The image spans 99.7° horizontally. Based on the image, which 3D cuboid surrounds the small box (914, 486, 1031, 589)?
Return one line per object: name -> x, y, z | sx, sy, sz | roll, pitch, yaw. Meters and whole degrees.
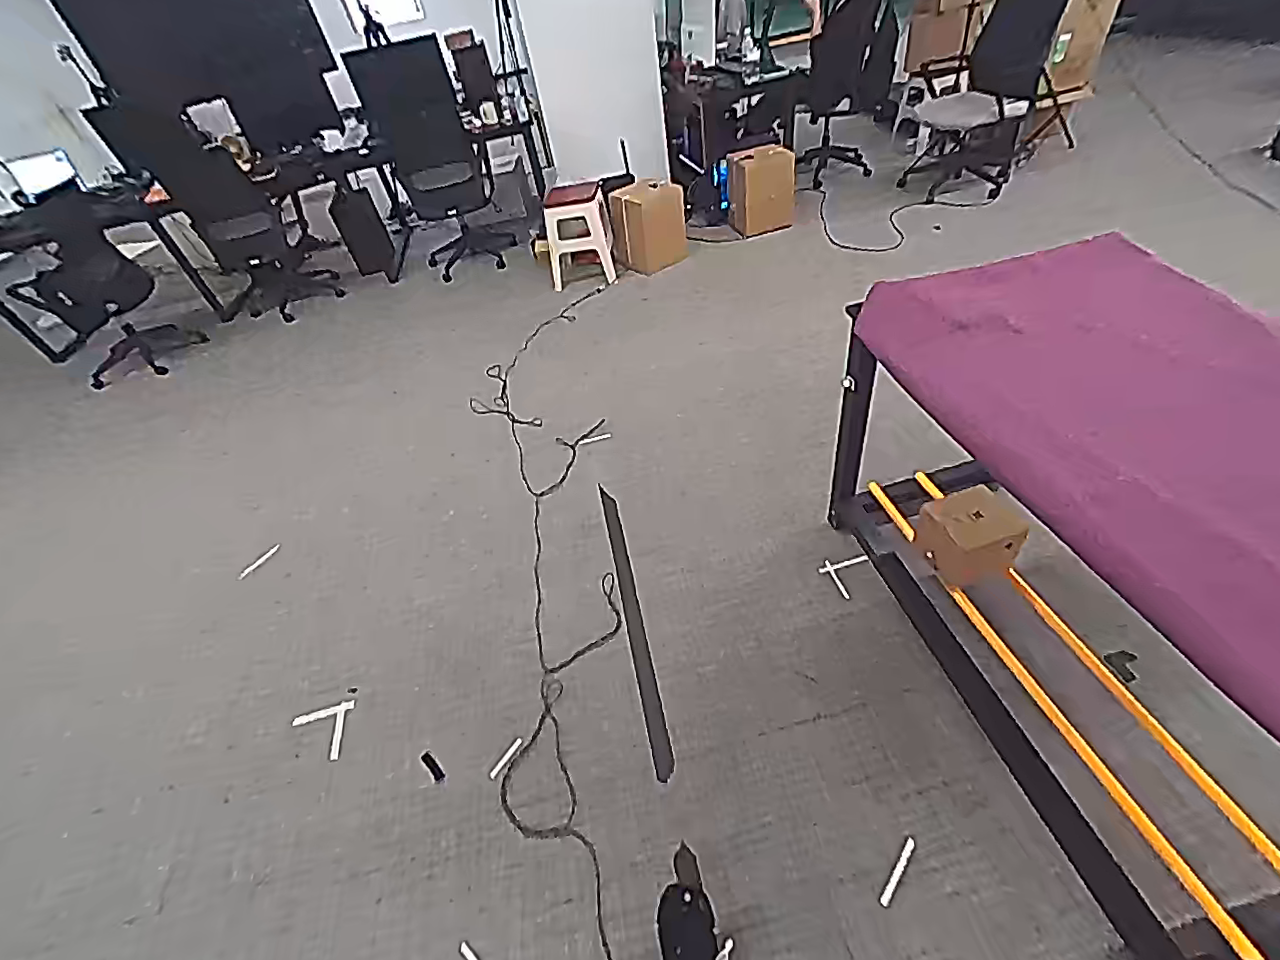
small box -> 0.836, 0.148, 1.380 | 0.179, 0.176, 0.168 | -18, 44, -3
